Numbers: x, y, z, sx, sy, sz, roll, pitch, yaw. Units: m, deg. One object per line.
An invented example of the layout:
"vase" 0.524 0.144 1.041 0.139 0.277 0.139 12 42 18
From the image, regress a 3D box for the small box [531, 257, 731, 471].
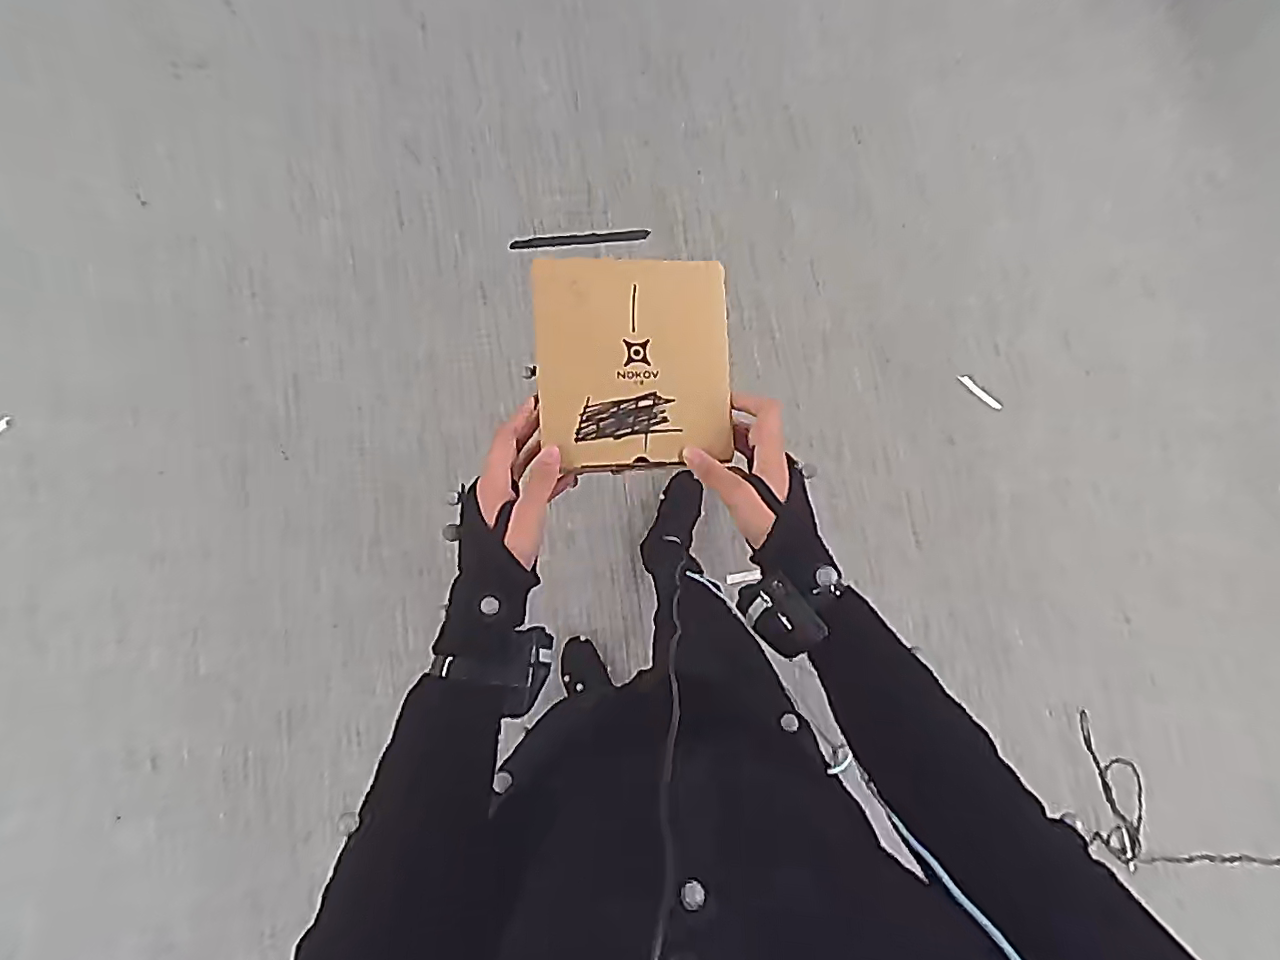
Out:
"small box" -0.018 -0.099 0.533 0.168 0.176 0.179 -3 89 -11
